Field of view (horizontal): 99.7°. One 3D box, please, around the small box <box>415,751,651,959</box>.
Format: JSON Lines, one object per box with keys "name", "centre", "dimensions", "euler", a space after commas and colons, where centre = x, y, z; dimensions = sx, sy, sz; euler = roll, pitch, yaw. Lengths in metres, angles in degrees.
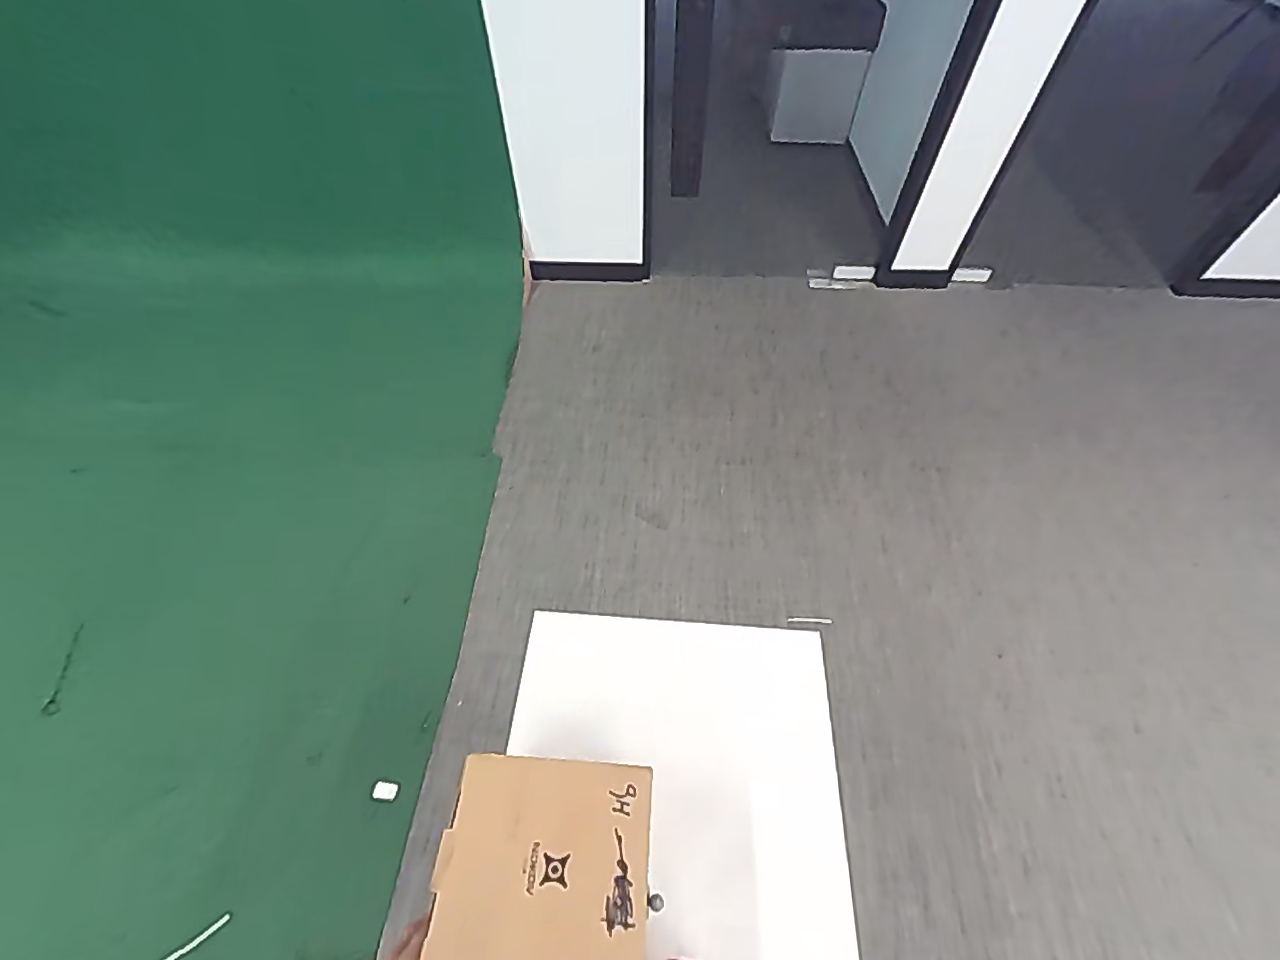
{"name": "small box", "centre": [-0.084, 0.371, 0.520], "dimensions": [0.179, 0.176, 0.168], "euler": [4, 55, 1]}
